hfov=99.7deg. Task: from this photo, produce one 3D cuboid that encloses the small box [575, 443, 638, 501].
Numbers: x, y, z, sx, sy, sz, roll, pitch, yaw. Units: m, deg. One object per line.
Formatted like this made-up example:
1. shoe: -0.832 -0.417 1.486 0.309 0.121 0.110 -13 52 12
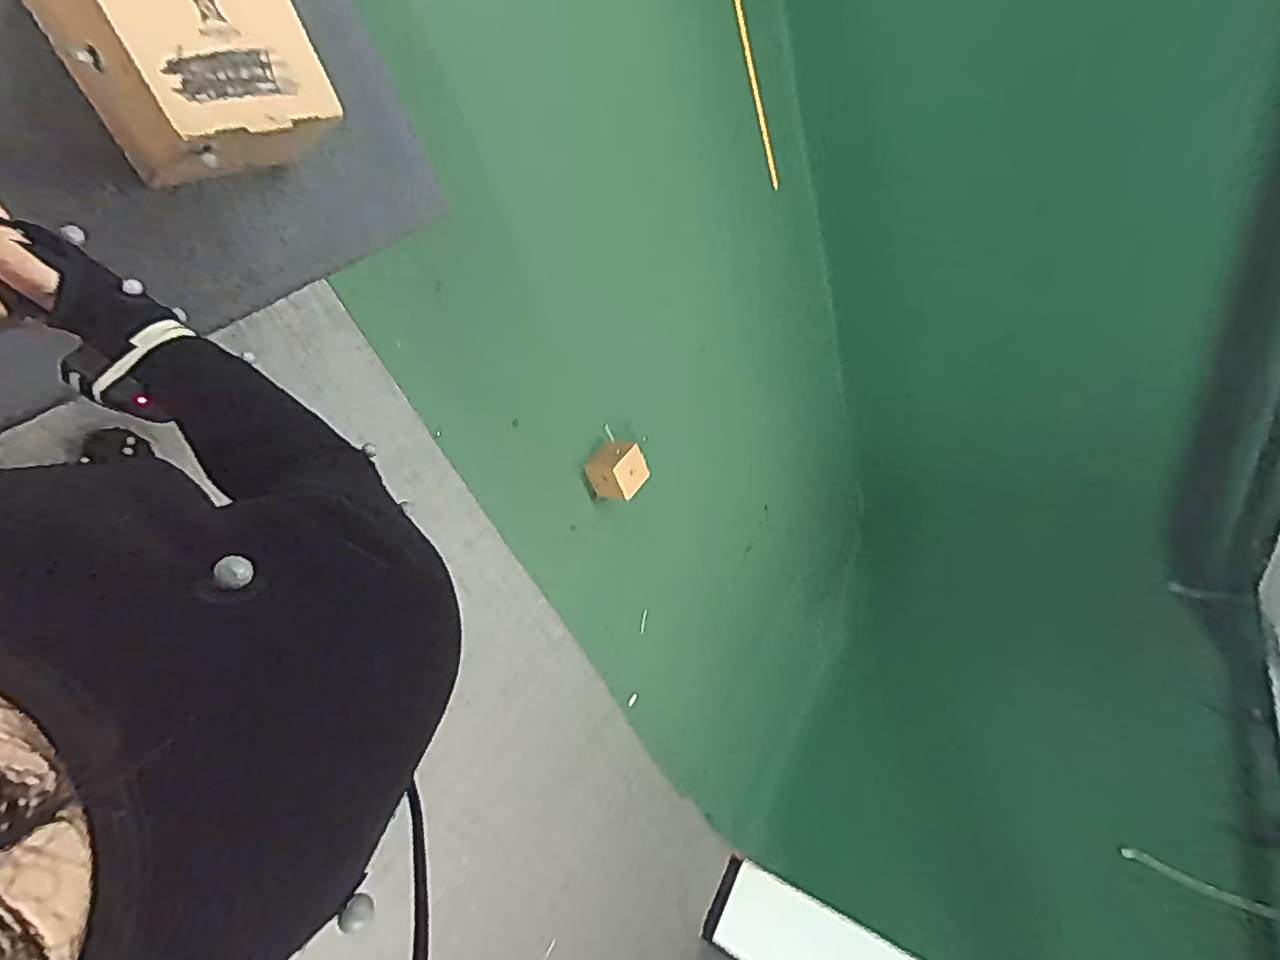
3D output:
1. small box: -0.144 -0.036 2.203 0.179 0.176 0.168 -51 132 -37
